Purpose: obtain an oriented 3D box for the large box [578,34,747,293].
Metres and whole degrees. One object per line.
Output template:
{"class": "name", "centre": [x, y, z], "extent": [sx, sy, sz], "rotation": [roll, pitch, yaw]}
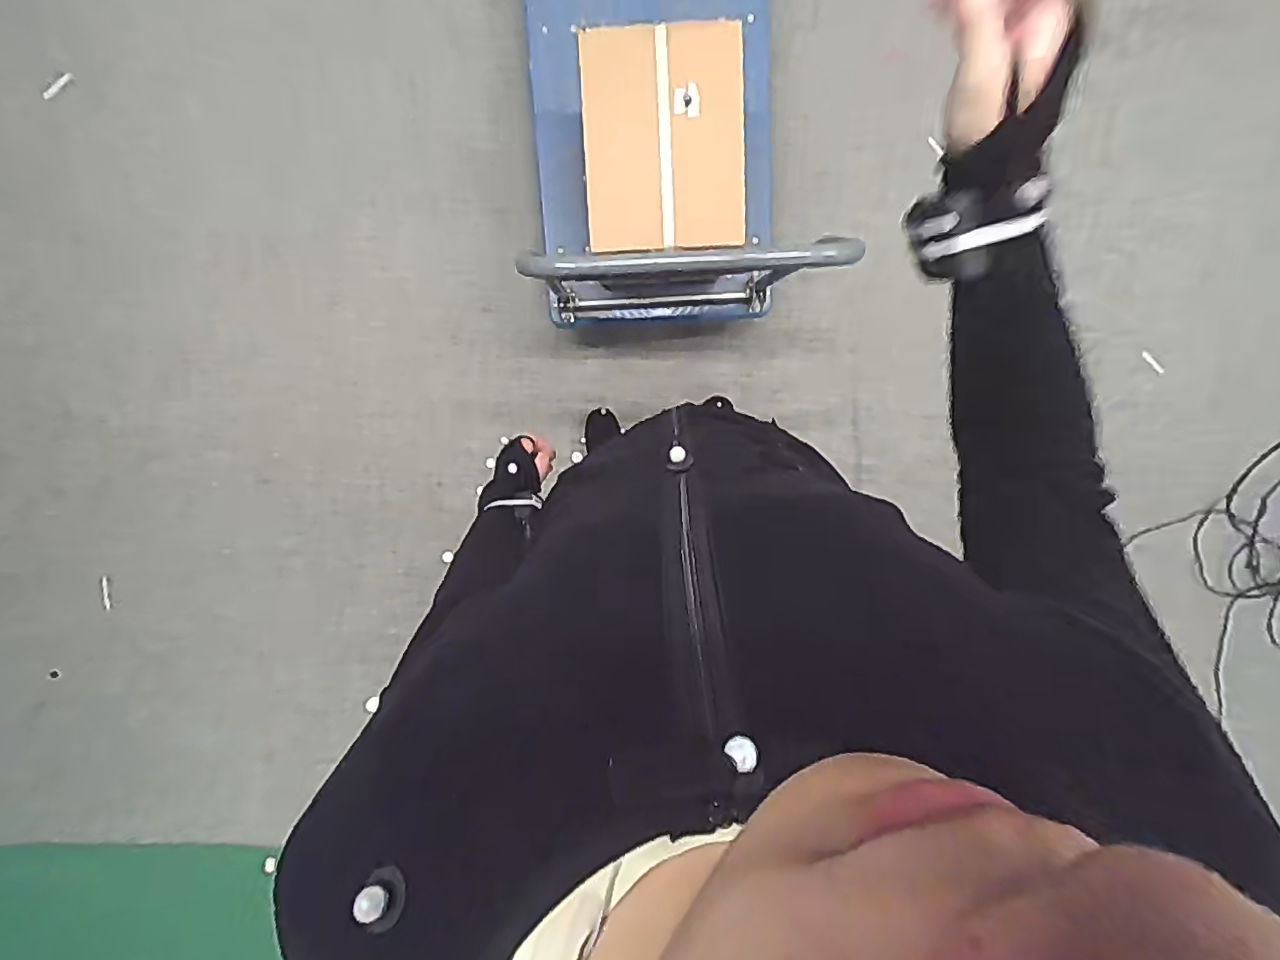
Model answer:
{"class": "large box", "centre": [0.048, -0.662, 1.201], "extent": [0.320, 0.320, 0.408], "rotation": [-3, 97, 0]}
